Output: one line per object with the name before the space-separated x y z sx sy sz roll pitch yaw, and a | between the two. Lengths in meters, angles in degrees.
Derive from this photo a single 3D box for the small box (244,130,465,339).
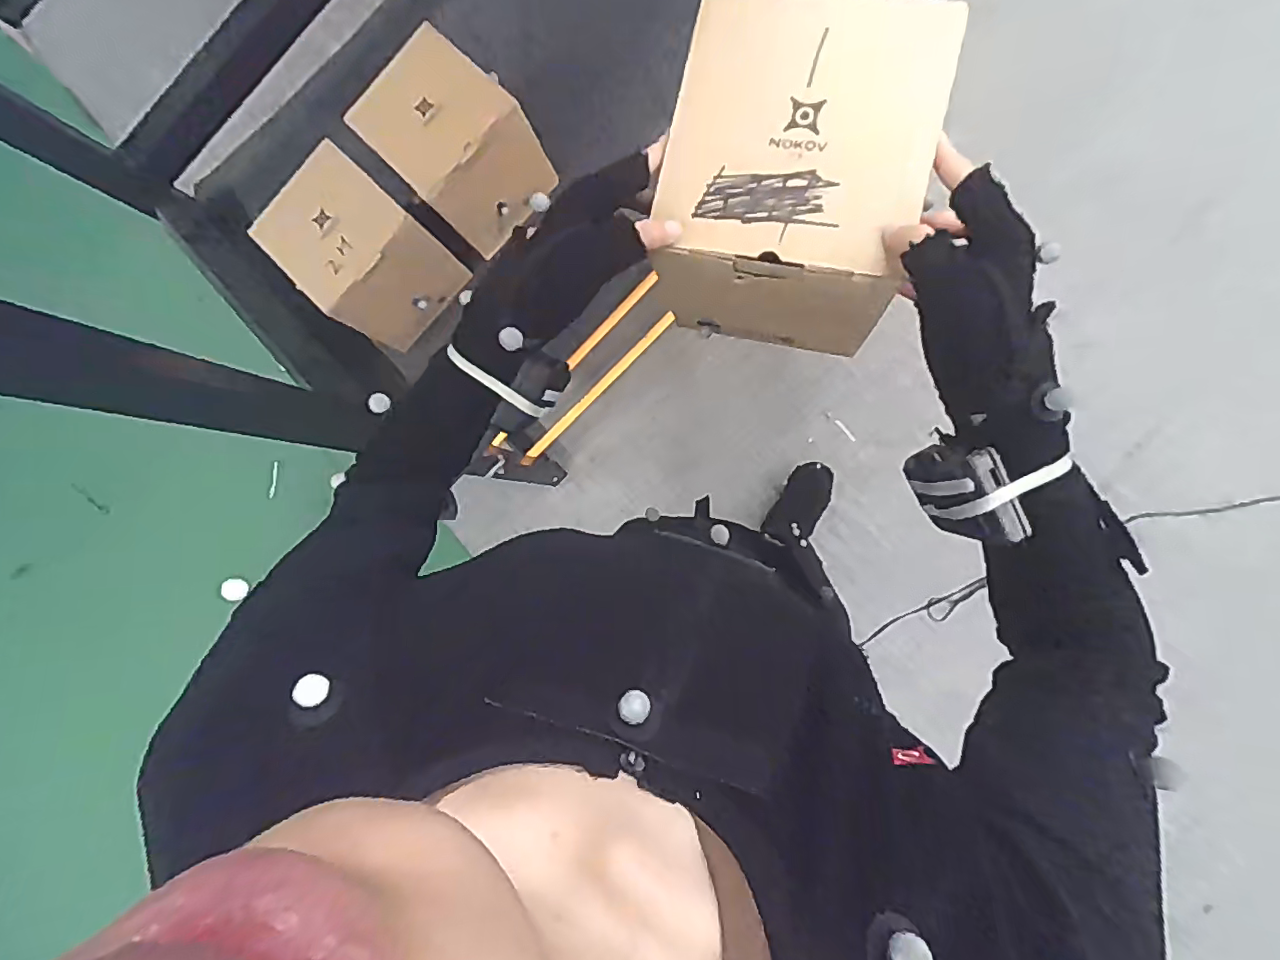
small box | -0.388 -0.328 0.762 0.179 0.176 0.168 44 95 10
